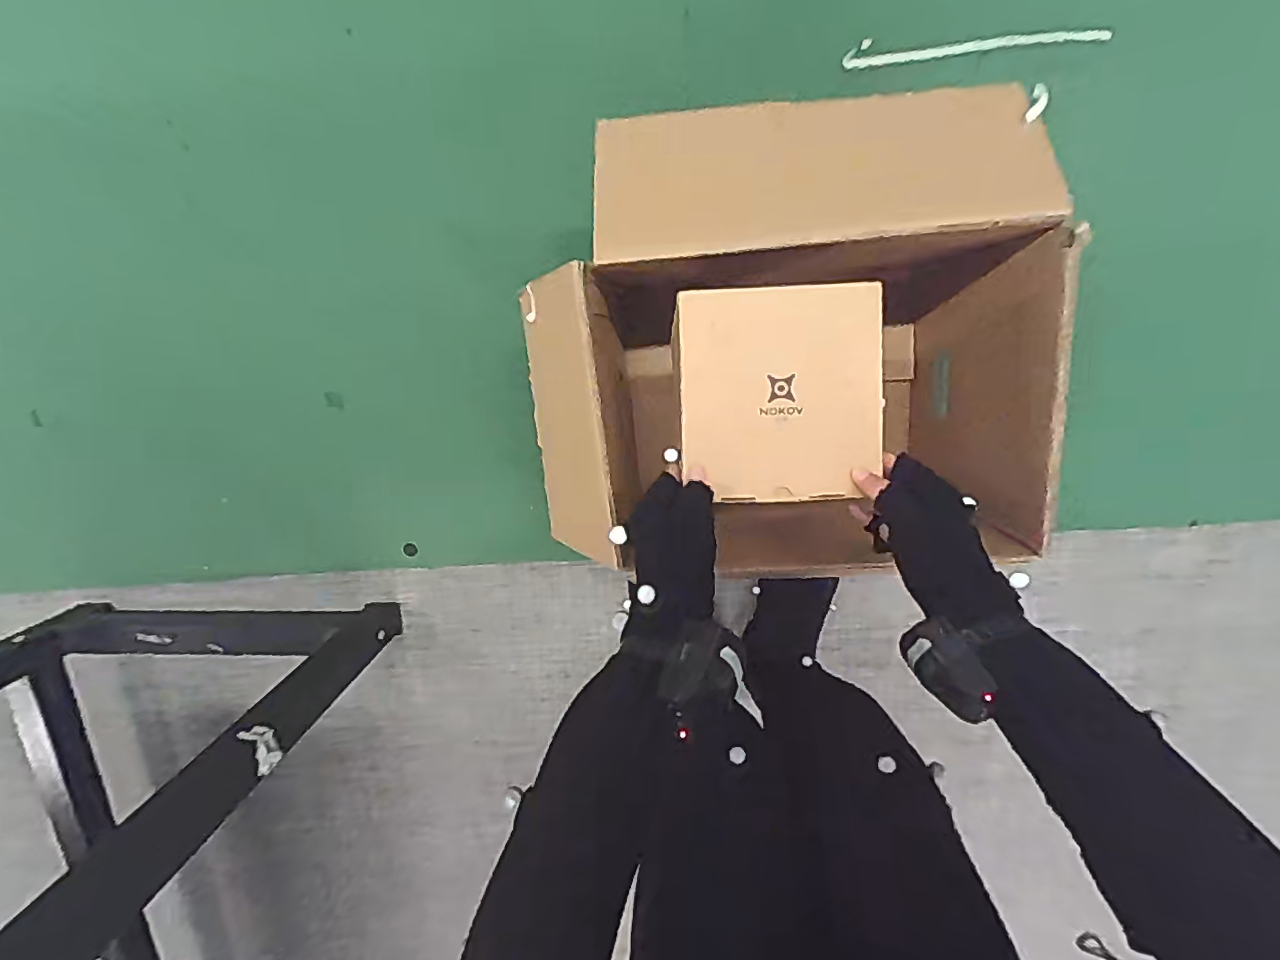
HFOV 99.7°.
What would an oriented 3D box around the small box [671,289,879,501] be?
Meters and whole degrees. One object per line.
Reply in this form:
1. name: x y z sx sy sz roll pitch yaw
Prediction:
1. small box: 0.116 -0.074 0.529 0.168 0.176 0.179 -1 94 1
